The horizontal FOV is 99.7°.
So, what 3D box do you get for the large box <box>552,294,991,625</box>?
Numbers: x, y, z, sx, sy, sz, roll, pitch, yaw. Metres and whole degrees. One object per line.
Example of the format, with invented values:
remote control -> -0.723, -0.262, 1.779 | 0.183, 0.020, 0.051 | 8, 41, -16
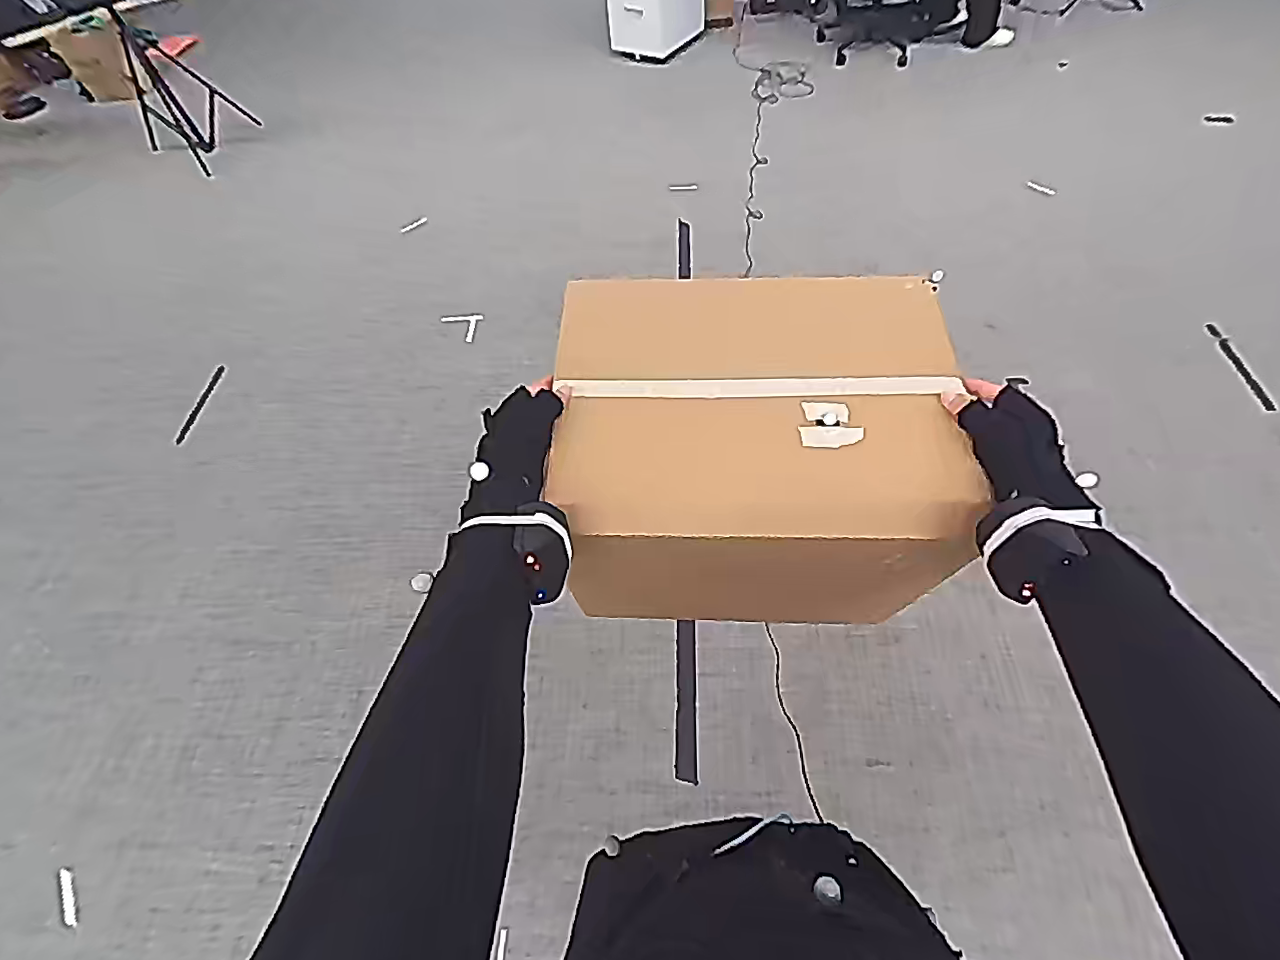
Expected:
large box -> 0.122, -0.006, 0.687 | 0.408, 0.320, 0.320 | 0, 62, 3
